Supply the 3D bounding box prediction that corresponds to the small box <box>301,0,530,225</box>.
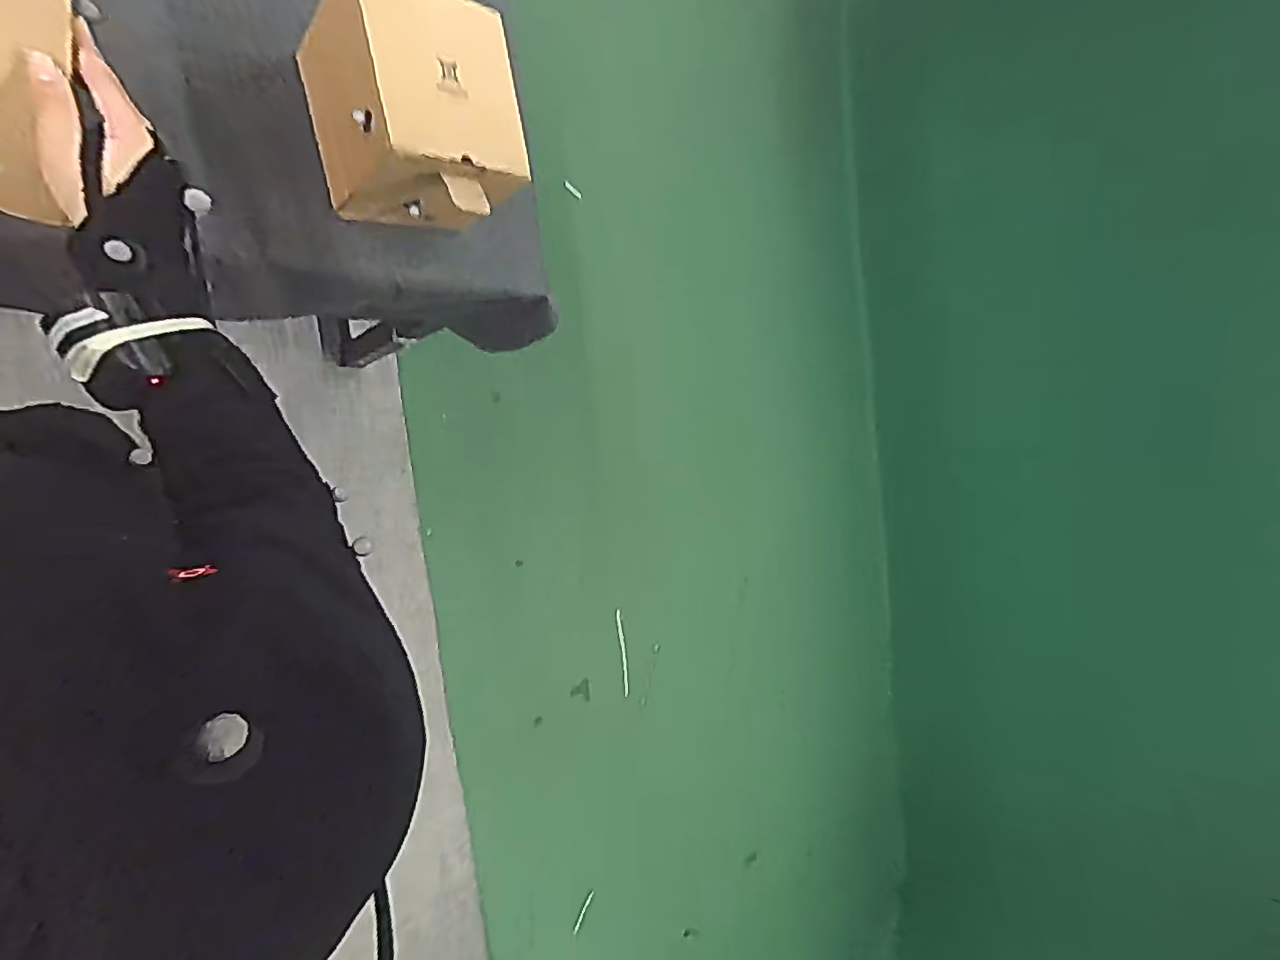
[{"bbox_3d":[-0.255,-0.415,0.611,0.168,0.176,0.179,-19,103,-45],"label":"small box"}]
